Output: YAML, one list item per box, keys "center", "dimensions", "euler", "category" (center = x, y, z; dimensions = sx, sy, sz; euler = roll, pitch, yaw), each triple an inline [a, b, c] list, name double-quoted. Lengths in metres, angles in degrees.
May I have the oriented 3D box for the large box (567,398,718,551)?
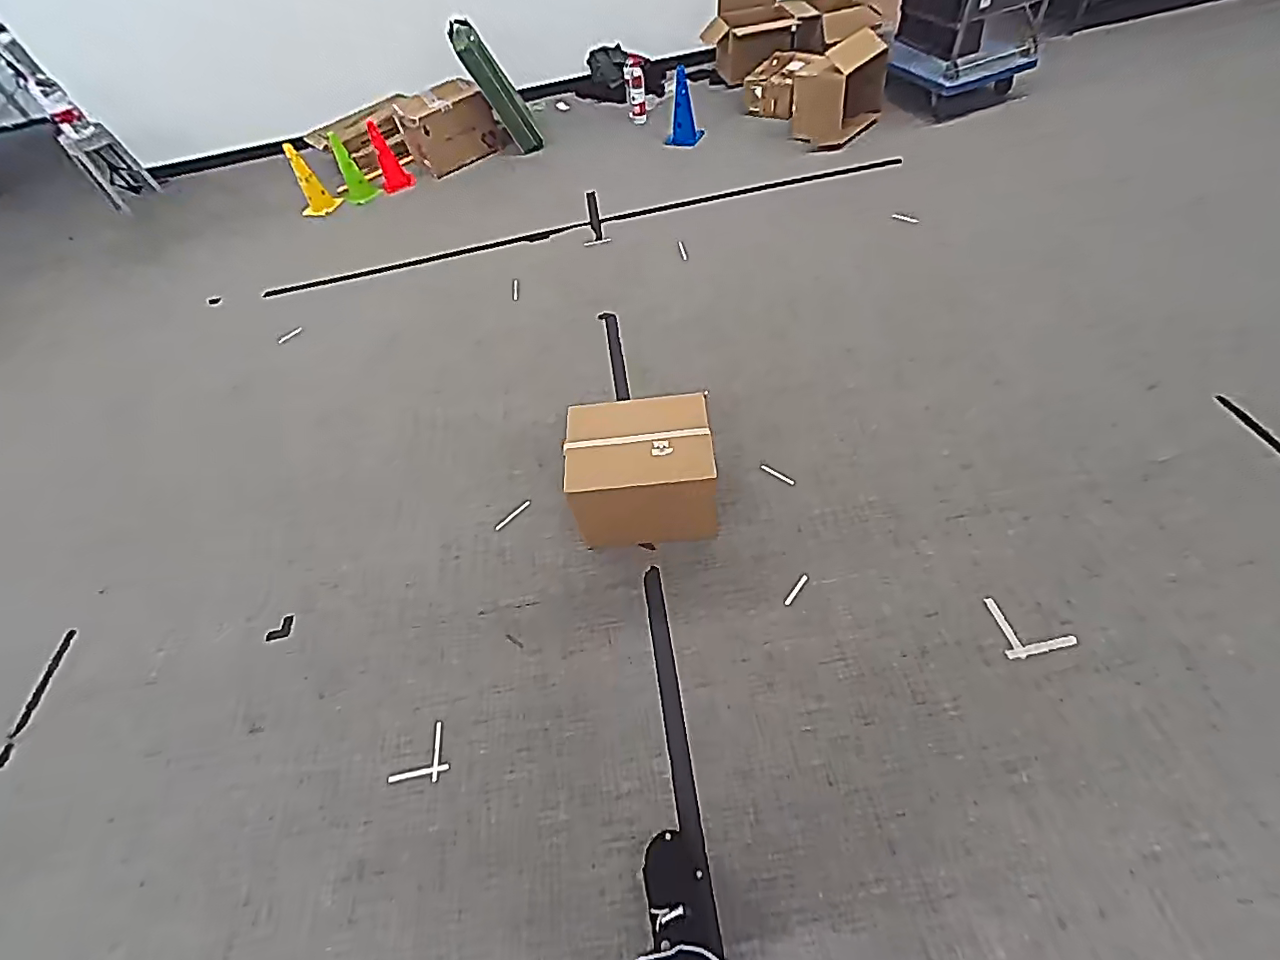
- center: [0.012, -0.009, 1.609]
  dimensions: [0.408, 0.320, 0.320]
  euler: [-5, 54, 4]
  category: "large box"
